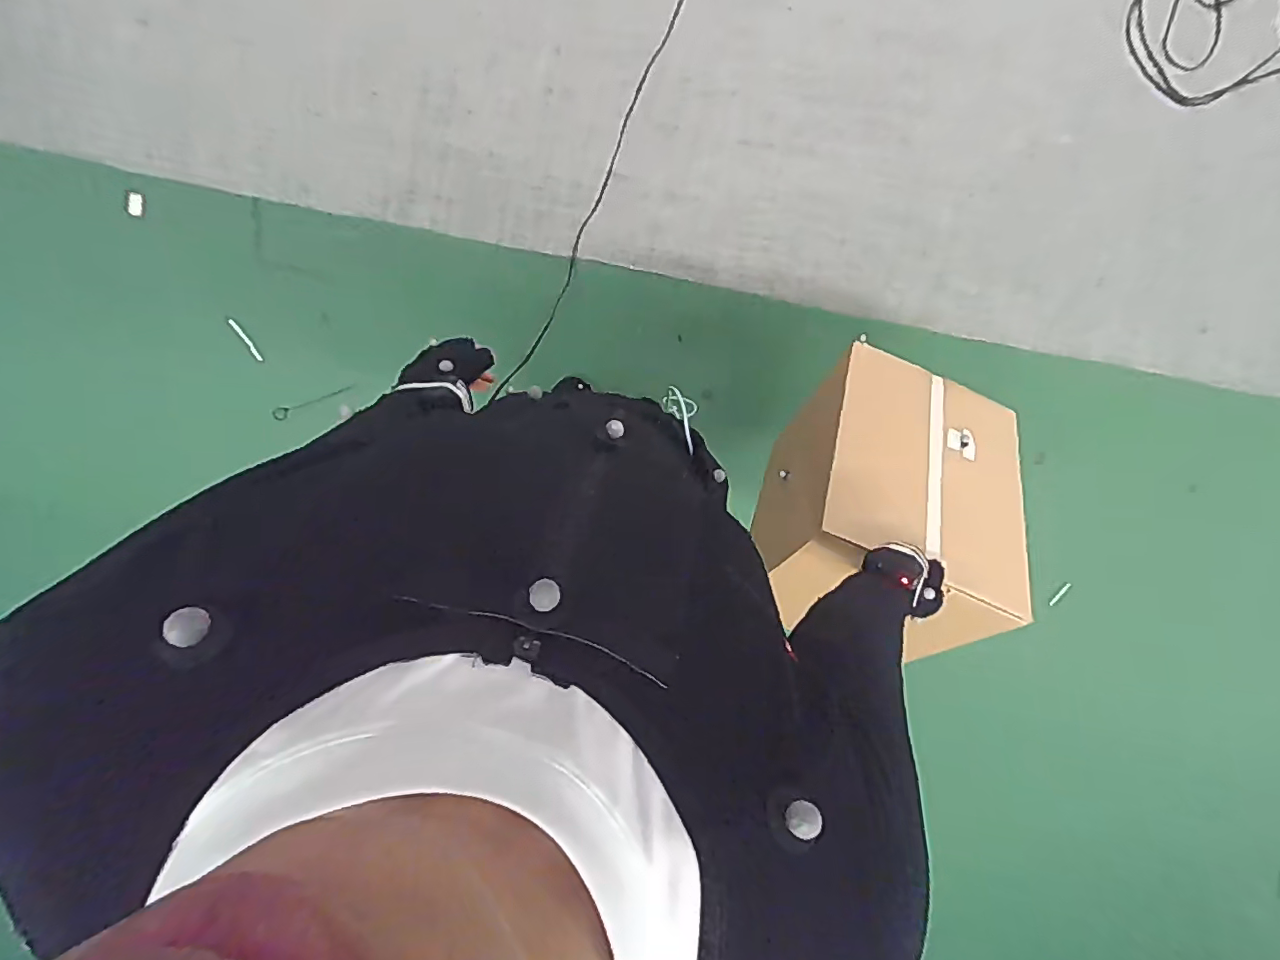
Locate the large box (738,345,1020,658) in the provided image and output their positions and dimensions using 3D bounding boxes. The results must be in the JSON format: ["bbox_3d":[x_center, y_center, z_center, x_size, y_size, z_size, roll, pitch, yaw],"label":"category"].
[{"bbox_3d":[0.407,0.047,0.971,0.320,0.320,0.408,25,56,-2],"label":"large box"}]
